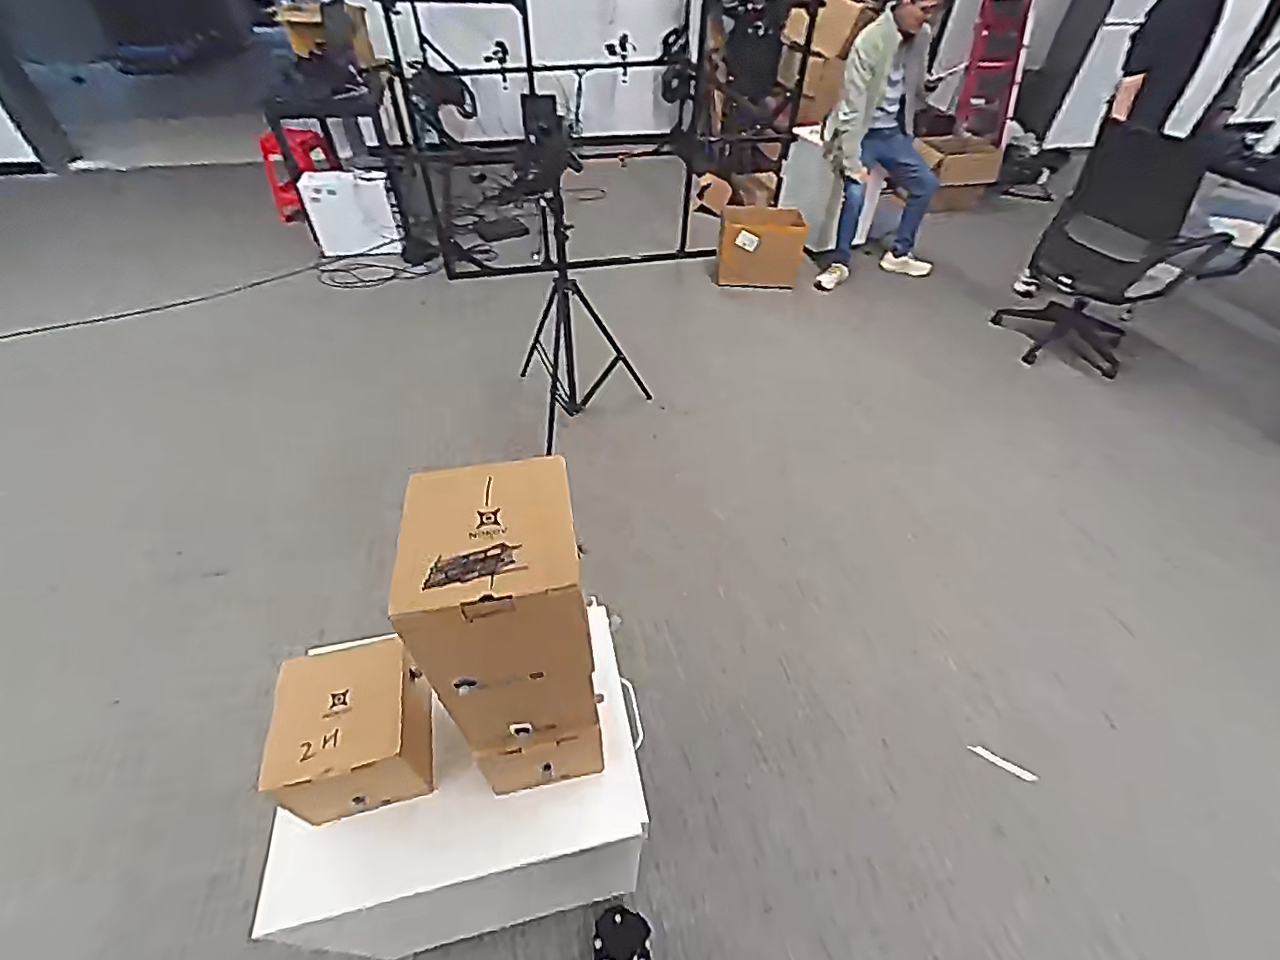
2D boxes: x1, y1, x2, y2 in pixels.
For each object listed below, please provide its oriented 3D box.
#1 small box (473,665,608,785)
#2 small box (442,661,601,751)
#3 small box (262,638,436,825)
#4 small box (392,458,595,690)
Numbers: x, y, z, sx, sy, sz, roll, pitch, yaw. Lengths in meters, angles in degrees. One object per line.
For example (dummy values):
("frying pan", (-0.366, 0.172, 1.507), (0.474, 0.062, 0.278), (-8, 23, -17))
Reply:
("small box", (-0.144, 0.336, 0.807), (0.168, 0.176, 0.179), (-9, 48, -6))
("small box", (-0.146, 0.217, 0.694), (0.168, 0.176, 0.179), (-9, 47, -8))
("small box", (-0.398, 0.359, 0.775), (0.168, 0.176, 0.179), (-10, 47, -12))
("small box", (-0.142, 0.104, 0.574), (0.168, 0.176, 0.179), (-8, 45, -7))
